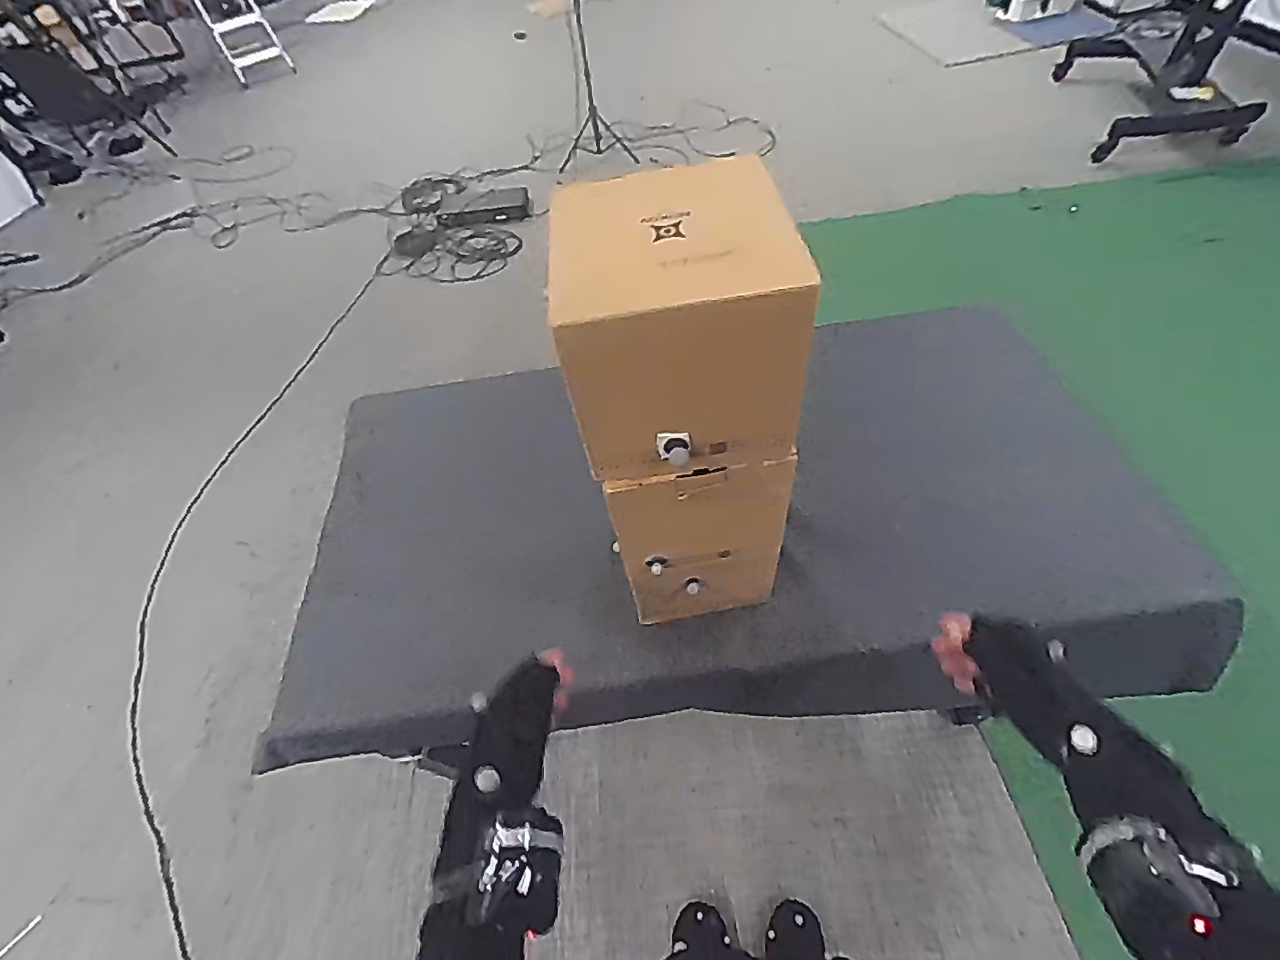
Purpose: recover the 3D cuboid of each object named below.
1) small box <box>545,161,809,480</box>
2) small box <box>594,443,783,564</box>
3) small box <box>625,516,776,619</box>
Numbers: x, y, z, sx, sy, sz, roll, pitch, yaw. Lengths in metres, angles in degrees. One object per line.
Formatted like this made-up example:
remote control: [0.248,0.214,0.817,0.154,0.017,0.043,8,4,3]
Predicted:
small box: [0.024,-0.125,0.443,0.168,0.176,0.179,-9,54,2]
small box: [0.042,-0.026,0.570,0.168,0.176,0.179,-10,52,0]
small box: [0.064,0.062,0.710,0.179,0.176,0.168,-13,51,-3]
